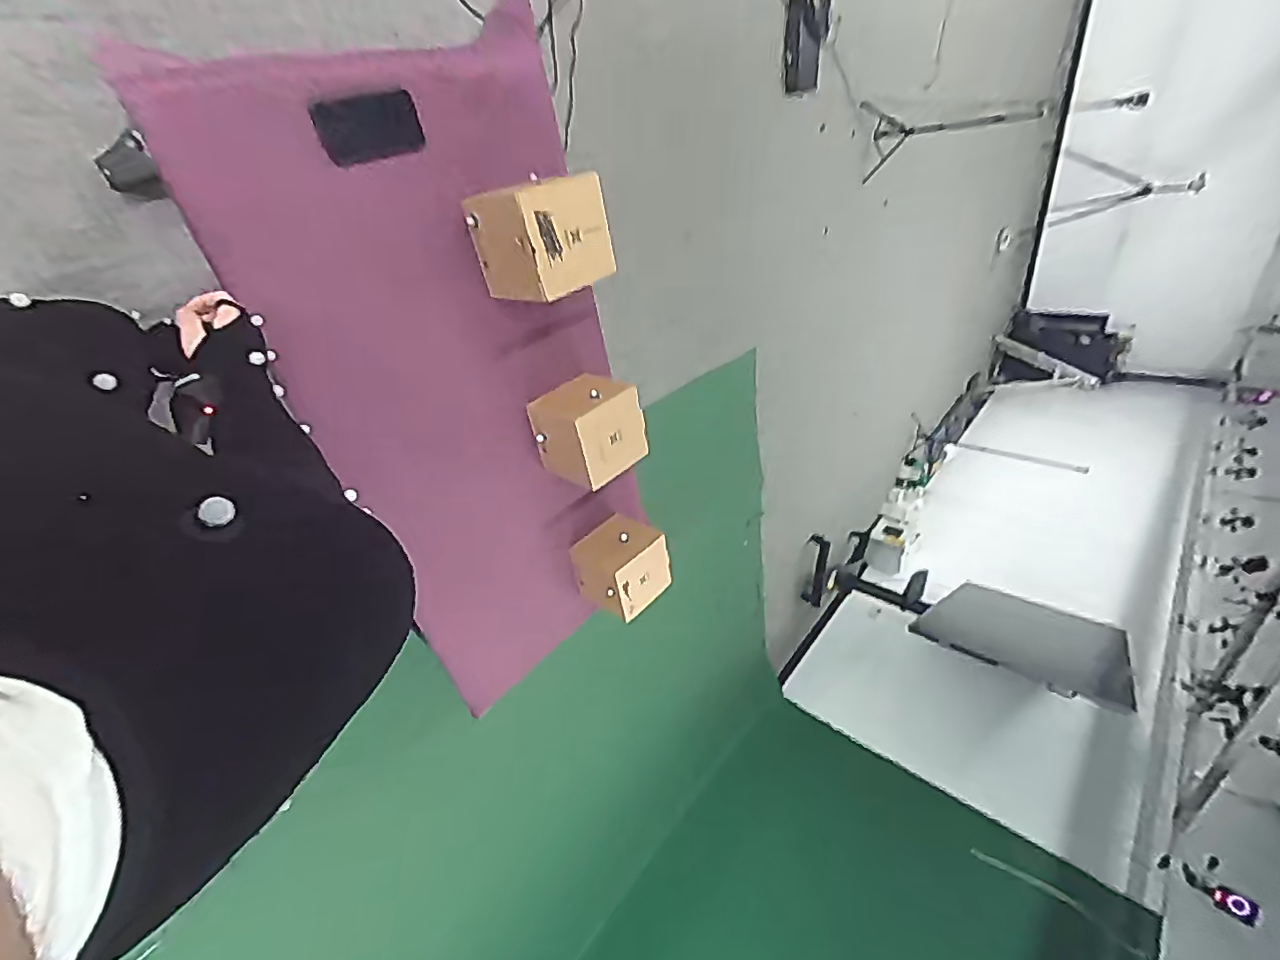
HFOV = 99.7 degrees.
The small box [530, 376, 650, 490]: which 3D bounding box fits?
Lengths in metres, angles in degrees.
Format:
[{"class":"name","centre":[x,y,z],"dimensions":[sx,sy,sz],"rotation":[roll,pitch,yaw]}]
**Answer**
[{"class":"small box","centre":[-0.105,-0.109,1.155],"dimensions":[0.179,0.176,0.168],"rotation":[-35,129,-34]}]

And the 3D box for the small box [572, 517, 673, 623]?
[{"class":"small box","centre":[-0.043,0.217,1.362],"dimensions":[0.179,0.176,0.168],"rotation":[-35,128,-35]}]

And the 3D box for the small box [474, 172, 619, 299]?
[{"class":"small box","centre":[-0.167,-0.425,0.946],"dimensions":[0.179,0.176,0.168],"rotation":[-37,131,-33]}]
